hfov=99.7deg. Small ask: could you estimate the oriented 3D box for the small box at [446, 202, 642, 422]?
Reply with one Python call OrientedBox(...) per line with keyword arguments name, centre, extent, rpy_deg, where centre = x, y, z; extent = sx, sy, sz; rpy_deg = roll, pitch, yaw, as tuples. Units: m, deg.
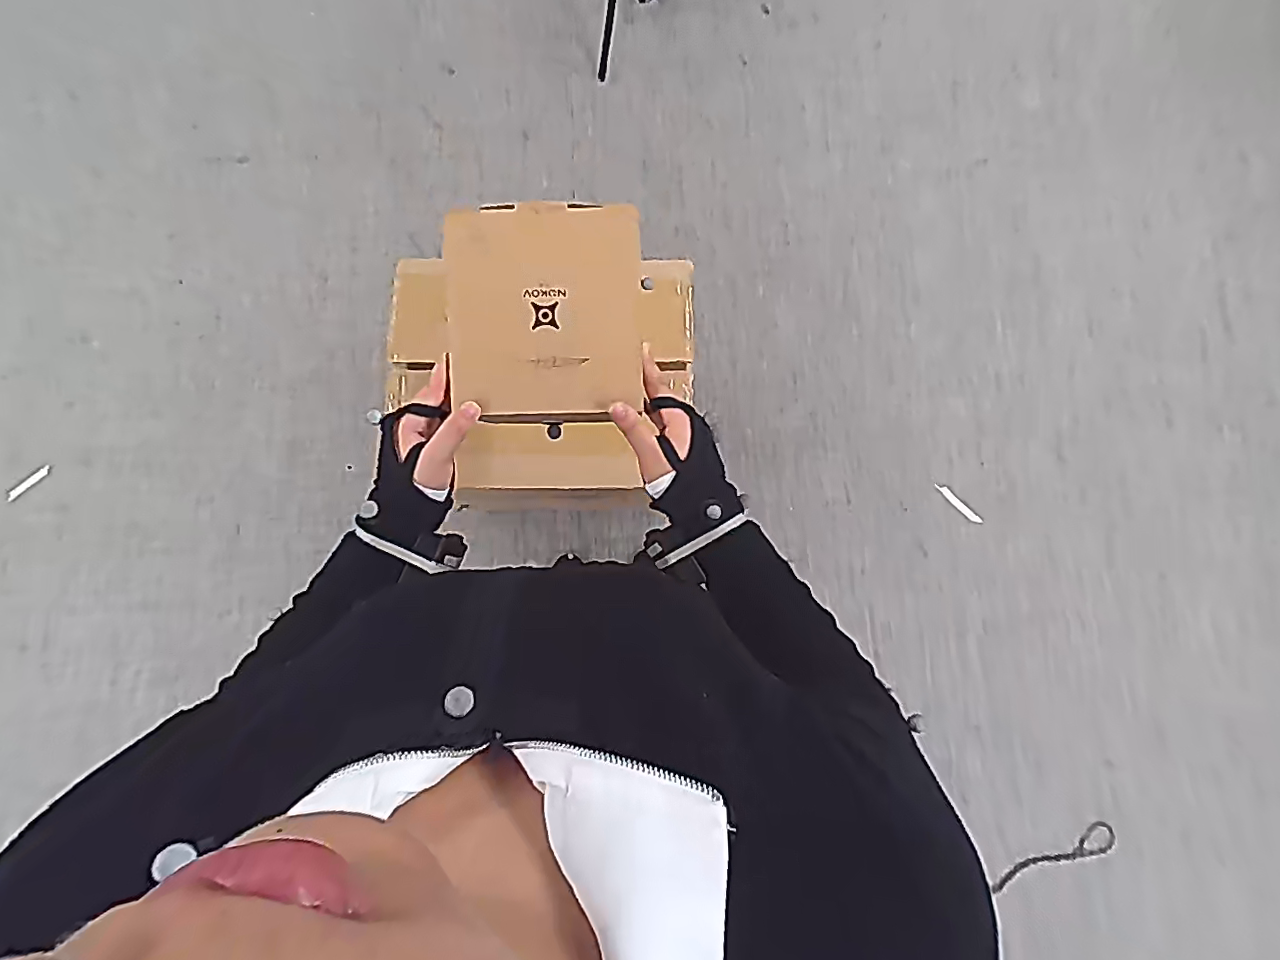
OrientedBox(name="small box", centre=(-0.084, -0.150, 0.538), extent=(0.168, 0.176, 0.179), rpy_deg=(-1, 94, -1))
